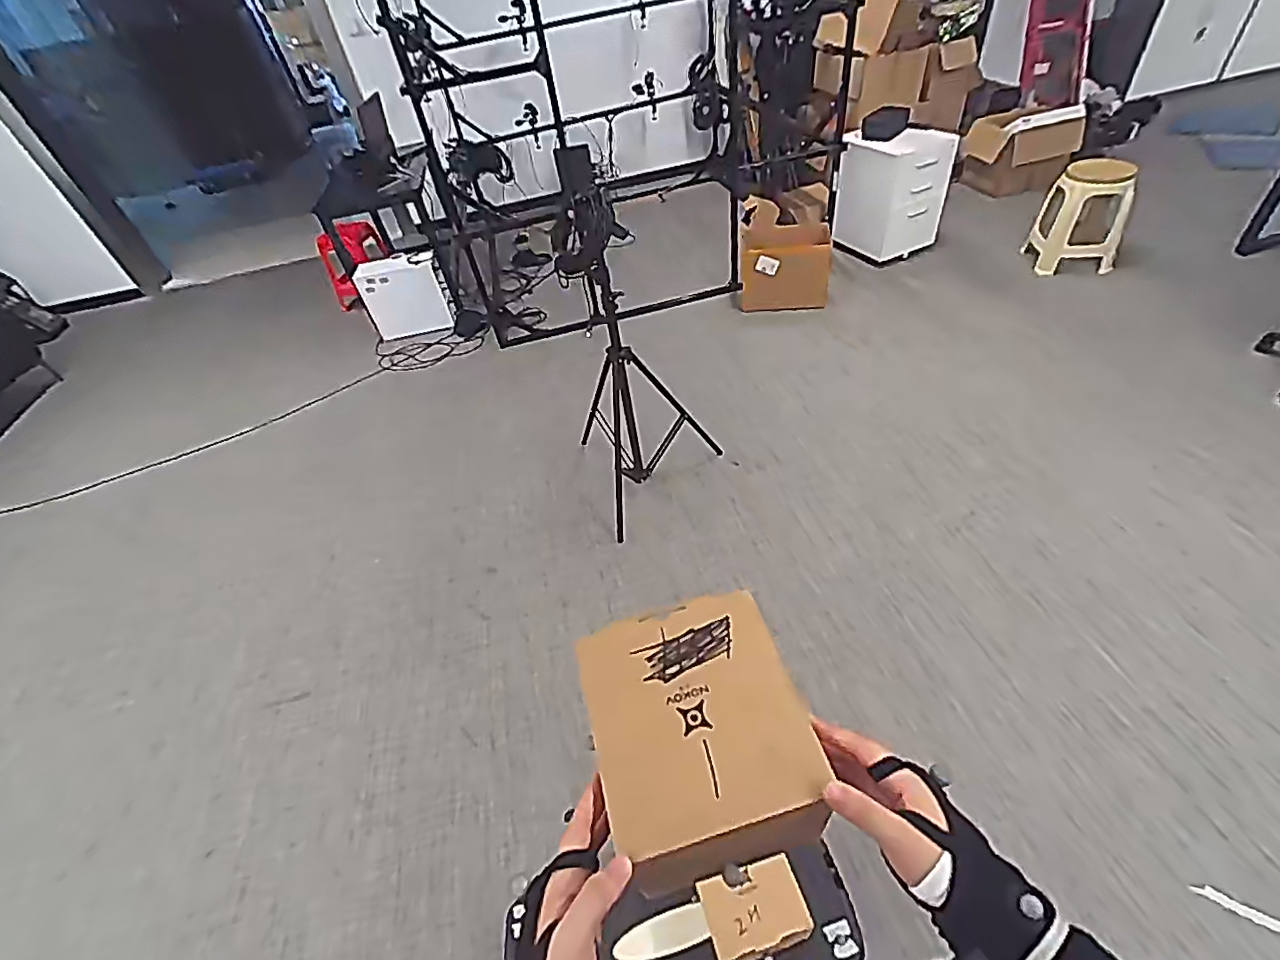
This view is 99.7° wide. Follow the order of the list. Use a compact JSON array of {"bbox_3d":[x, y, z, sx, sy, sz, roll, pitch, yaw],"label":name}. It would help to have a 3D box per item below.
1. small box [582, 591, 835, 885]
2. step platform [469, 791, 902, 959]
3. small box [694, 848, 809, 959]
[{"bbox_3d":[0.053,0.236,0.496,0.168,0.176,0.179,-16,47,-4],"label":"small box"},{"bbox_3d":[0.070,0.780,0.930,0.684,0.204,0.286,-16,44,-6],"label":"step platform"},{"bbox_3d":[0.190,0.744,0.993,0.168,0.176,0.179,-18,45,-6],"label":"small box"}]
